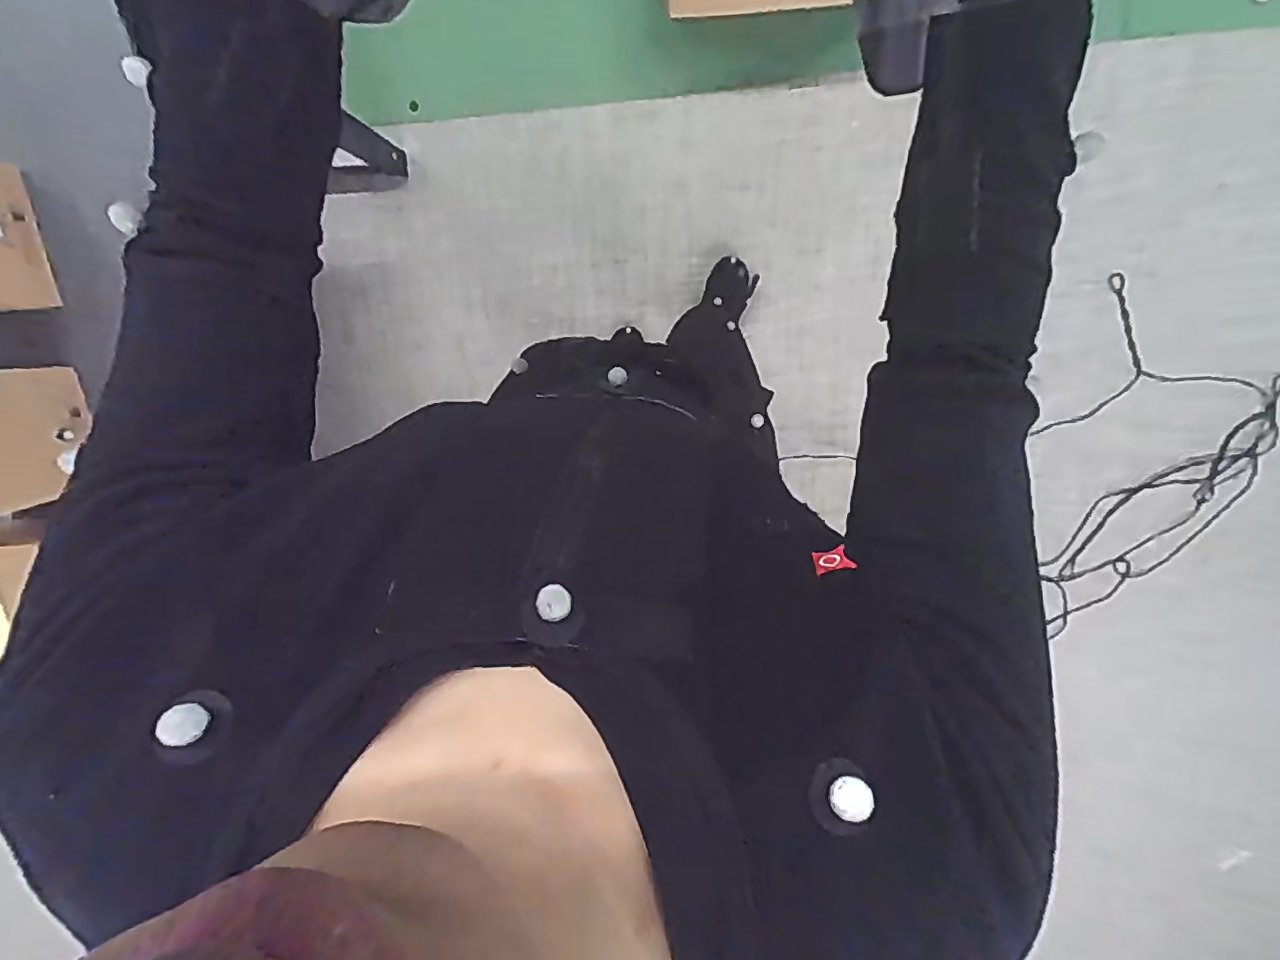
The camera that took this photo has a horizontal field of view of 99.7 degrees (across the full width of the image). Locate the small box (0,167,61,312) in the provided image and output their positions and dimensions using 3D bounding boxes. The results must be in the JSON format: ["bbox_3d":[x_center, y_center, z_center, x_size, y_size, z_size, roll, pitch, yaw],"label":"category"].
[{"bbox_3d":[-0.840,-0.278,0.610,0.179,0.176,0.168,-3,104,3],"label":"small box"}]
